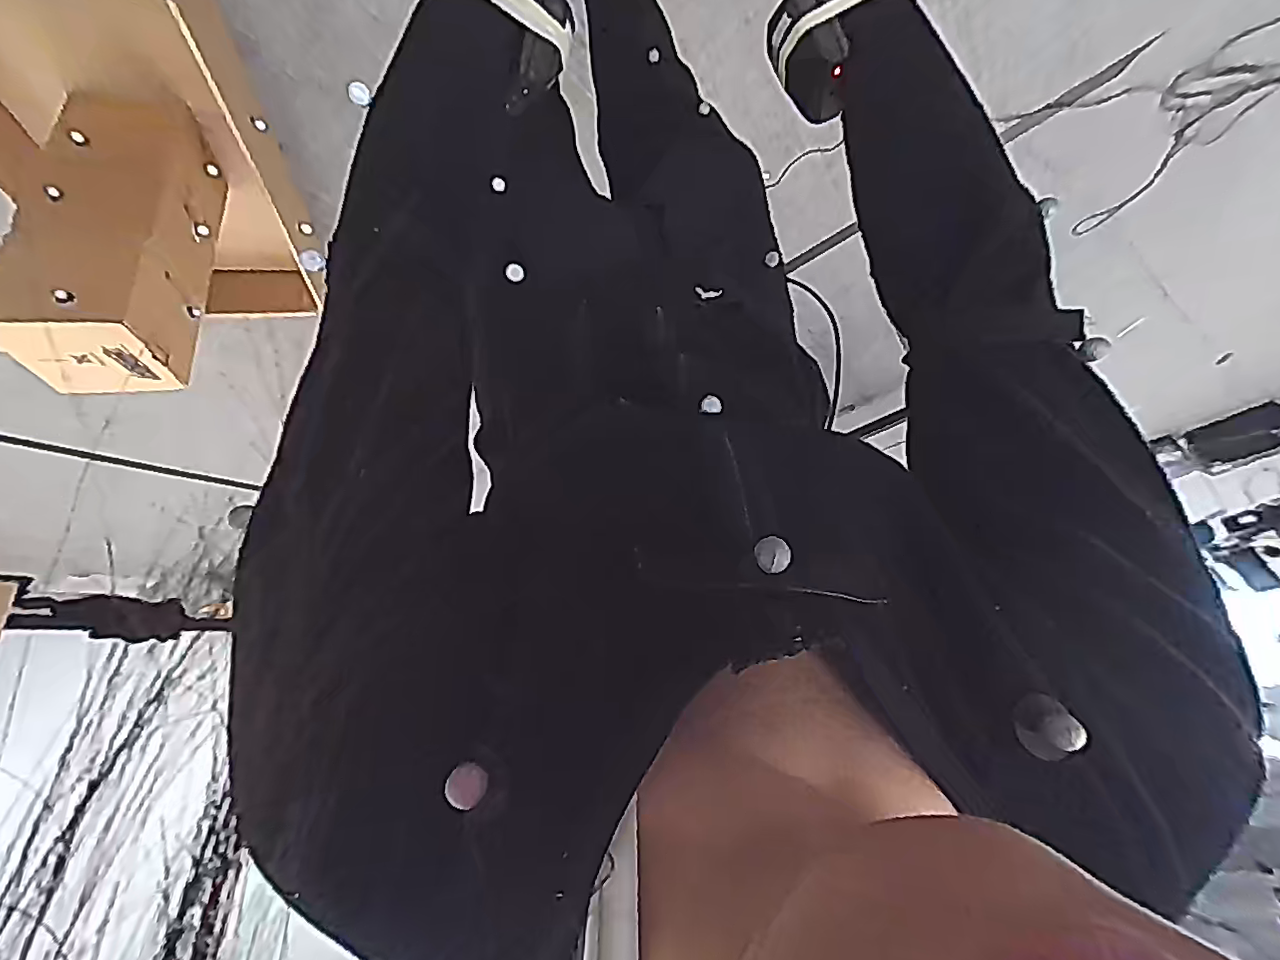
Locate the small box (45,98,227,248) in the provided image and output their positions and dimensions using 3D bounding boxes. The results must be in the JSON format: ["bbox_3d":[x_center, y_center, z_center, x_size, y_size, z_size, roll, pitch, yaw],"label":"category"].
[{"bbox_3d":[-0.881,-0.546,0.968,0.179,0.176,0.168,-4,155,-17],"label":"small box"}]

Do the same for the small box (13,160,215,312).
[{"bbox_3d":[-0.851,-0.402,0.899,0.179,0.176,0.168,-6,156,-16],"label":"small box"}]

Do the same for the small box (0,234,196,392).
[{"bbox_3d":[-0.825,-0.254,0.832,0.179,0.176,0.168,-4,155,-14],"label":"small box"}]
